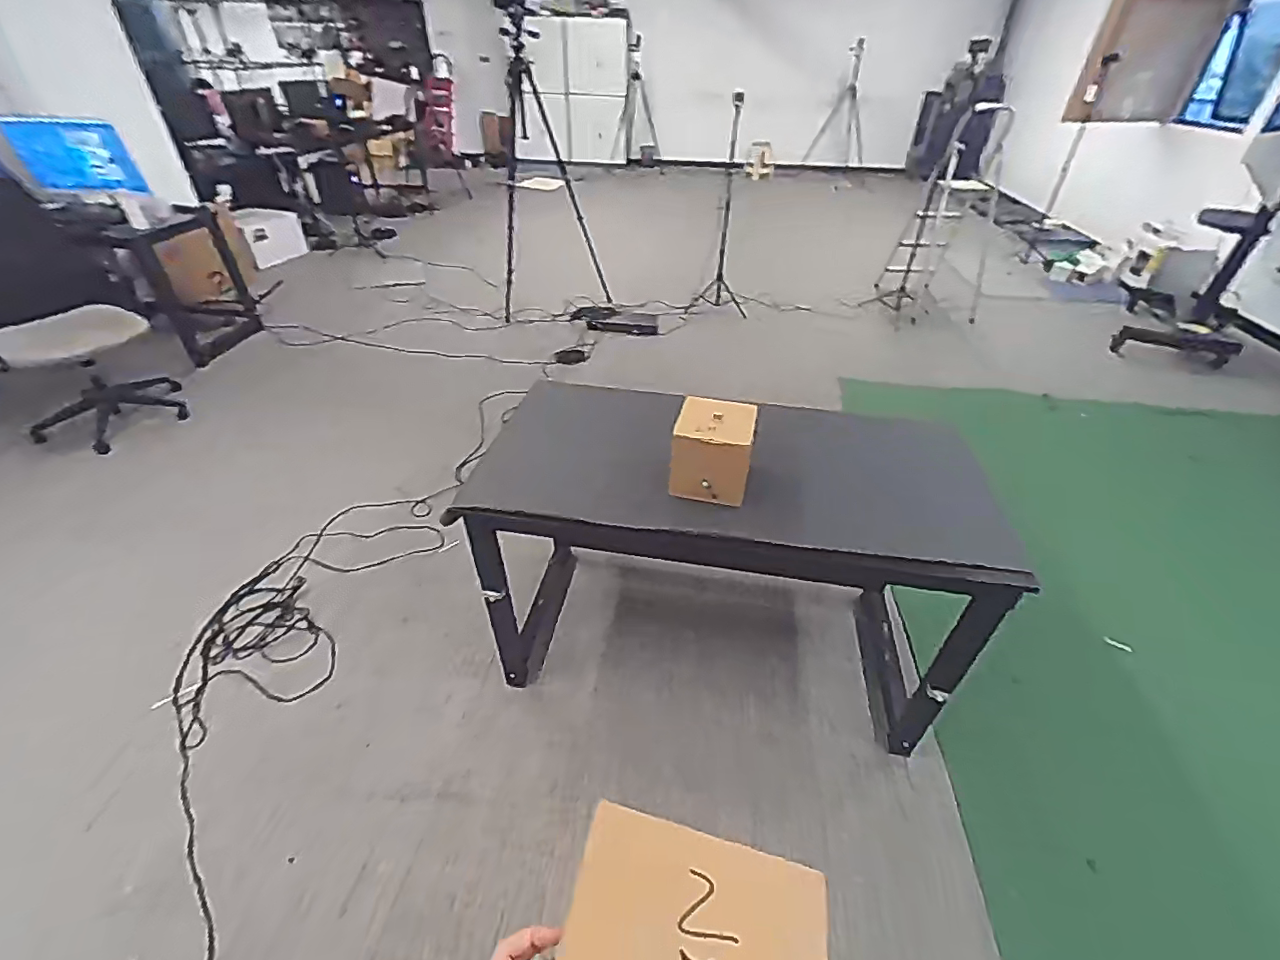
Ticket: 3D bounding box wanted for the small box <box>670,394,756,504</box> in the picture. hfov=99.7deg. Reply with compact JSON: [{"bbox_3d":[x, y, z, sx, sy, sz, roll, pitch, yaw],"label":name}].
[{"bbox_3d":[0.163,-0.072,1.230,0.168,0.176,0.179,9,39,11],"label":"small box"}]
